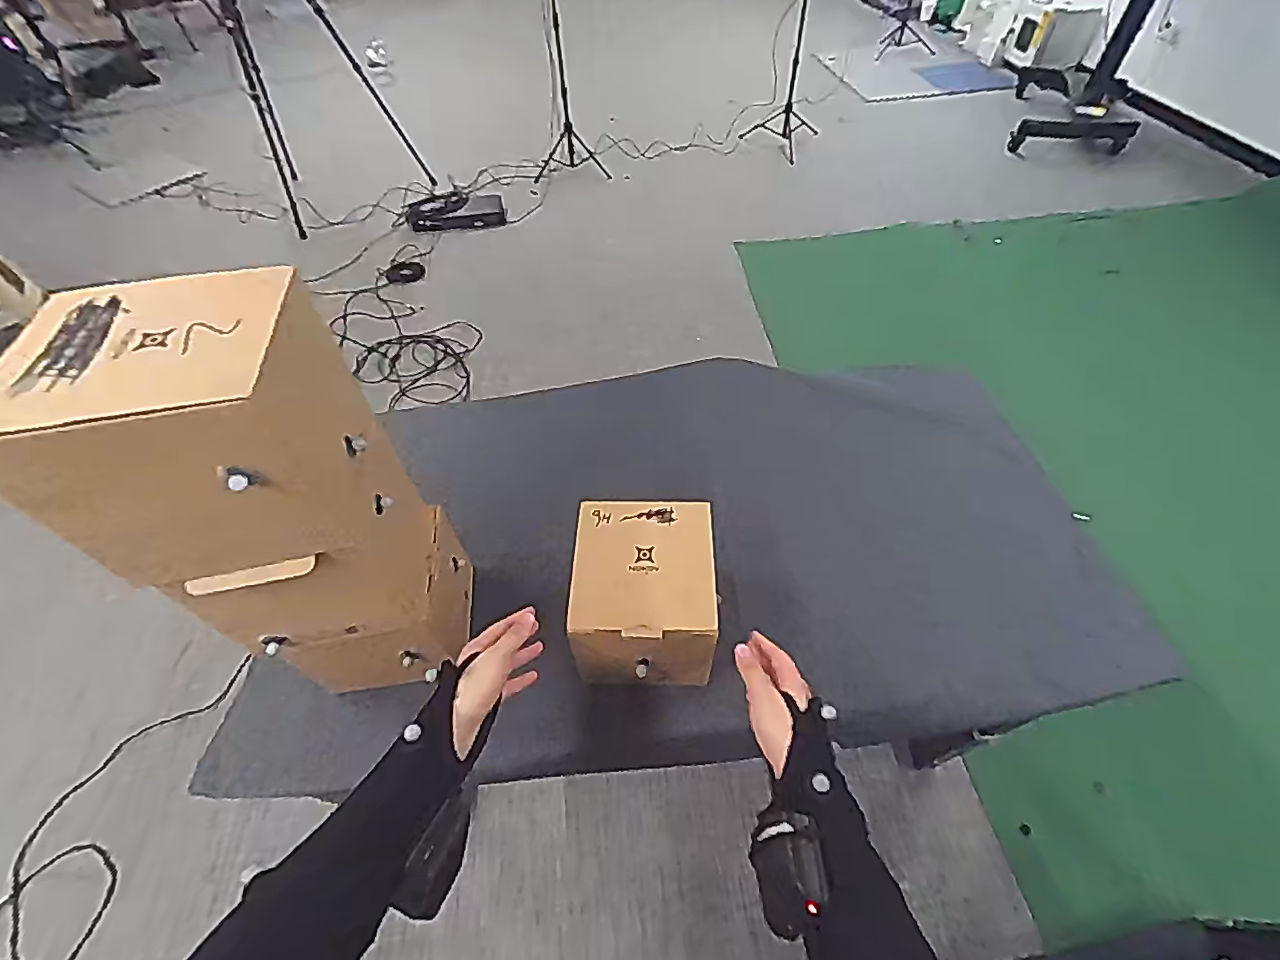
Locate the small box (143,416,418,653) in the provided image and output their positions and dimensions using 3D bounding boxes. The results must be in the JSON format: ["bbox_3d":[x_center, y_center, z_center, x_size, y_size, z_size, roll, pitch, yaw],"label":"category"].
[{"bbox_3d":[-0.345,0.063,0.566,0.168,0.176,0.179,-11,50,-7],"label":"small box"}]

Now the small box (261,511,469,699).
[{"bbox_3d":[-0.330,0.164,0.696,0.179,0.176,0.168,-9,51,-3],"label":"small box"}]

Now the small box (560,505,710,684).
[{"bbox_3d":[0.003,0.150,0.688,0.168,0.176,0.179,-1,52,3],"label":"small box"}]
